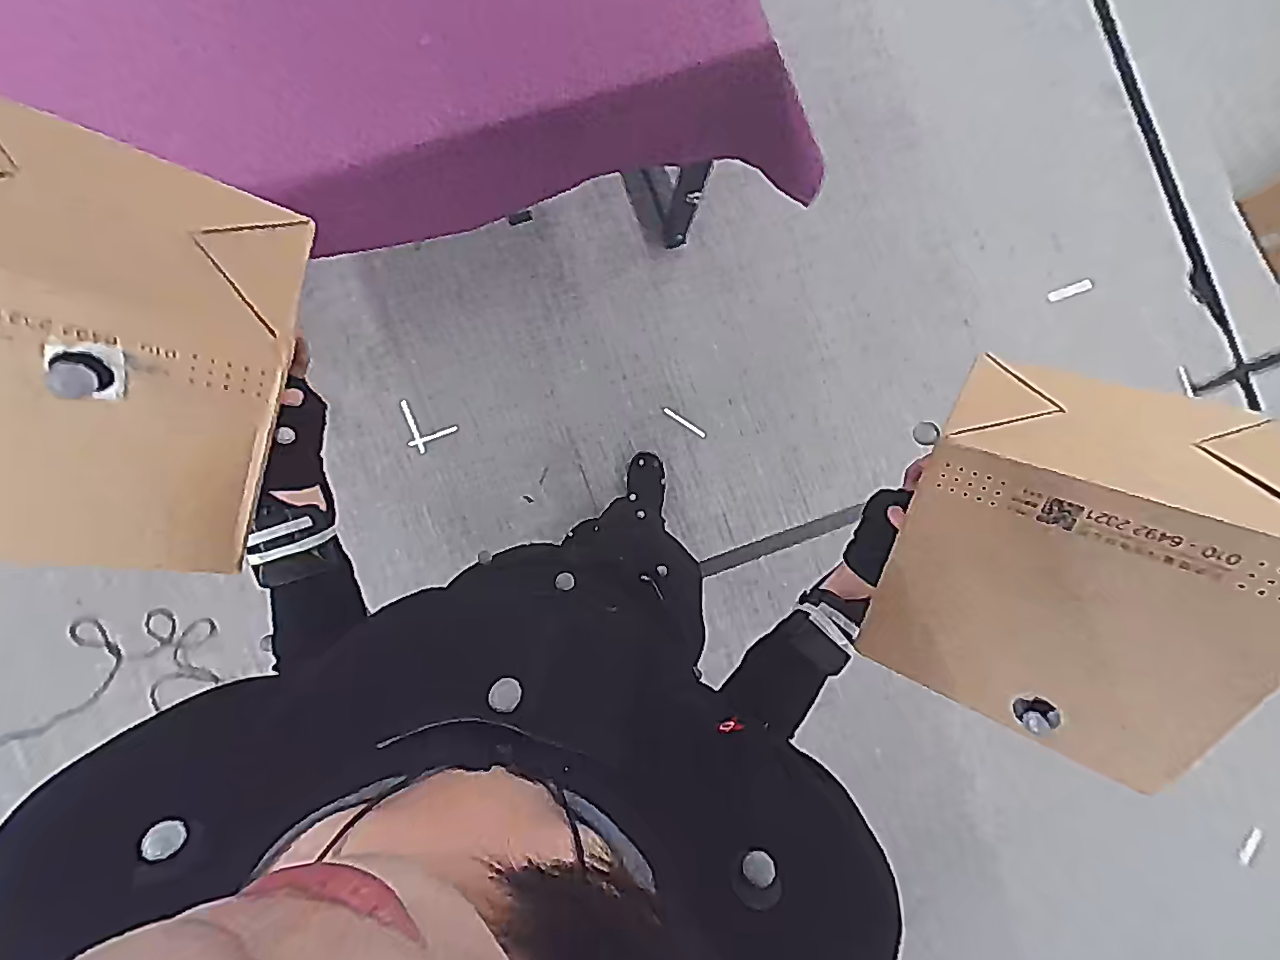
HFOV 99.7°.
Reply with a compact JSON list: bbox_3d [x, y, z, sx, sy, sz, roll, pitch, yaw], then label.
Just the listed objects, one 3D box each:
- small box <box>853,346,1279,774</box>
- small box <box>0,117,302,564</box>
[{"bbox_3d":[0.258,0.026,0.336,0.168,0.179,0.176,22,128,27],"label":"small box"},{"bbox_3d":[-0.299,-0.079,0.297,0.168,0.179,0.176,11,124,-34],"label":"small box"}]
